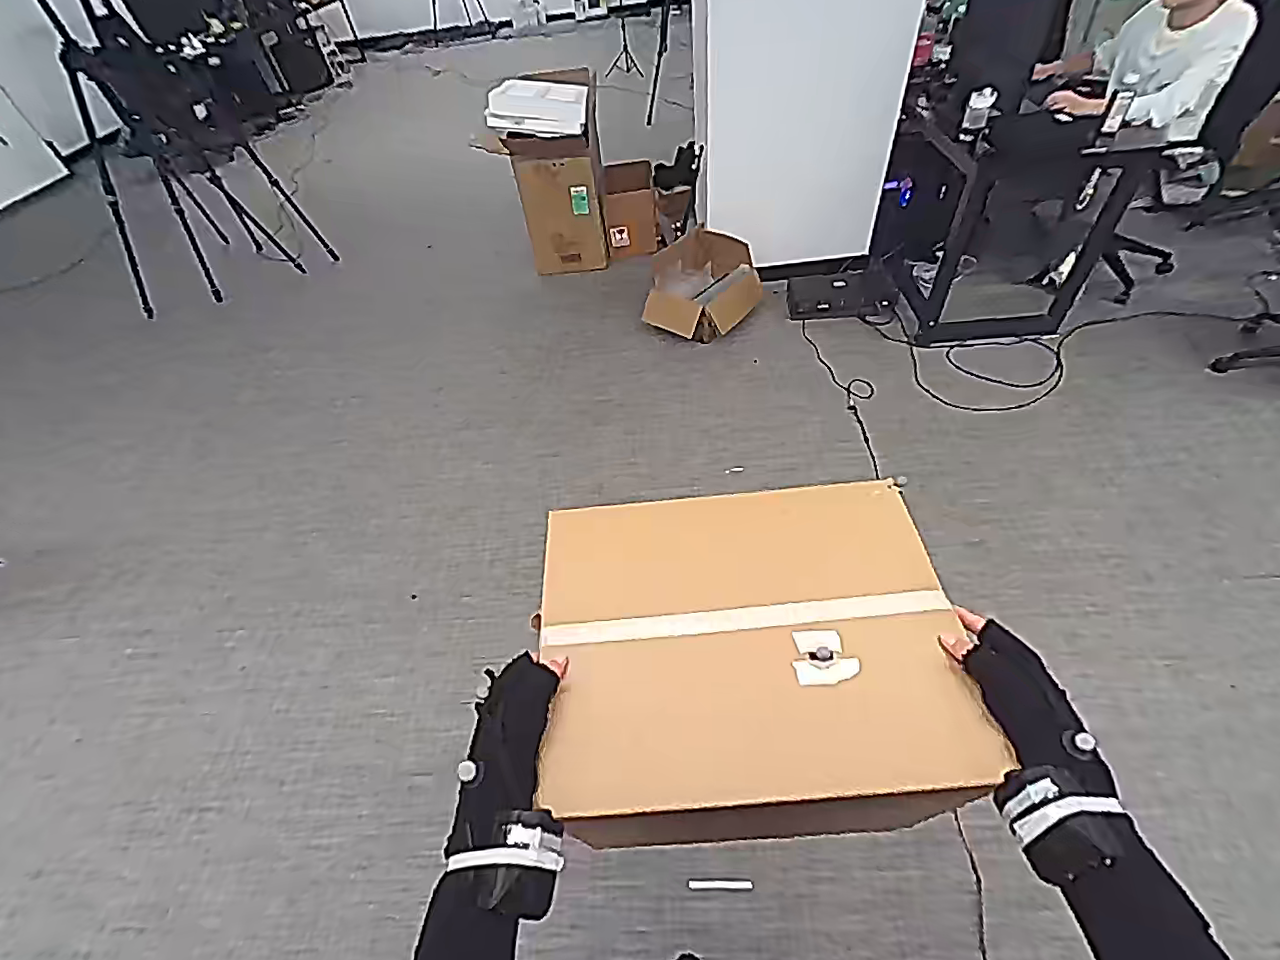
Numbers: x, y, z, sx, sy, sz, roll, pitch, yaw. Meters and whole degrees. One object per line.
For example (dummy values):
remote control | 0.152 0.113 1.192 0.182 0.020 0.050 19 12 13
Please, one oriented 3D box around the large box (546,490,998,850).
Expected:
large box | 0.113 0.244 0.673 0.408 0.320 0.320 -6 52 1
